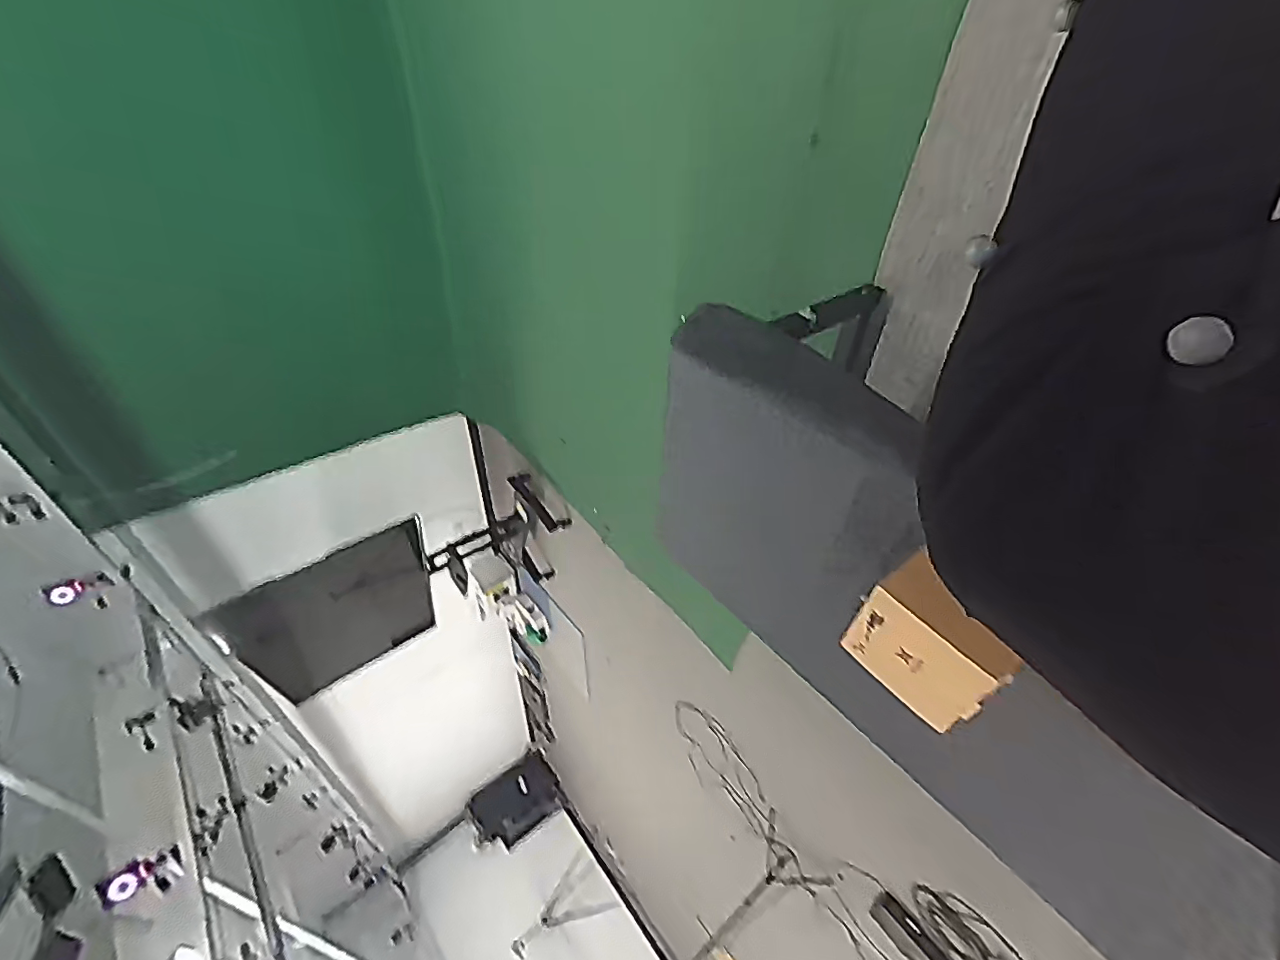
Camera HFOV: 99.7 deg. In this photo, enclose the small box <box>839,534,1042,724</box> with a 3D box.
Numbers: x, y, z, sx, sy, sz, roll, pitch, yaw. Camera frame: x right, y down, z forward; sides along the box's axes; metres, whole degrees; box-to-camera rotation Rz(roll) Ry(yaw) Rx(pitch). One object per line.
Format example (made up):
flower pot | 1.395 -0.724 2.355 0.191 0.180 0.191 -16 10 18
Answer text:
small box | 0.436 0.211 0.795 0.179 0.176 0.168 43 147 32
